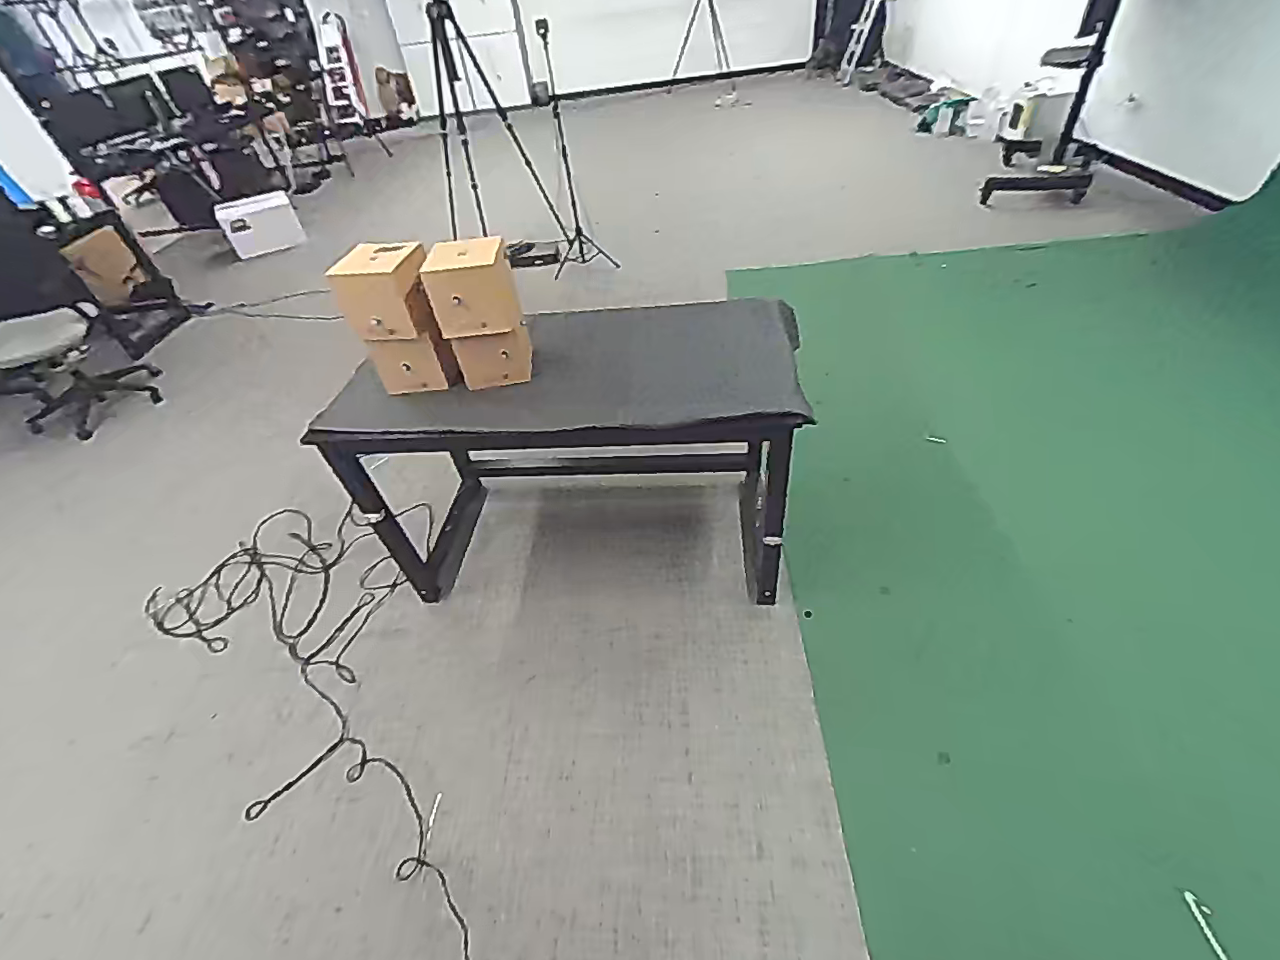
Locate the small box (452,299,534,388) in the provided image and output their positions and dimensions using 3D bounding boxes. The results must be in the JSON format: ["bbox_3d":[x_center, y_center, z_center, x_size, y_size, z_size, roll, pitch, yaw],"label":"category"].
[{"bbox_3d":[-0.380,-0.354,1.428,0.168,0.176,0.179,-8,43,-2],"label":"small box"}]

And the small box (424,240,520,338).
[{"bbox_3d":[-0.393,-0.452,1.297,0.168,0.176,0.179,-6,43,0],"label":"small box"}]
